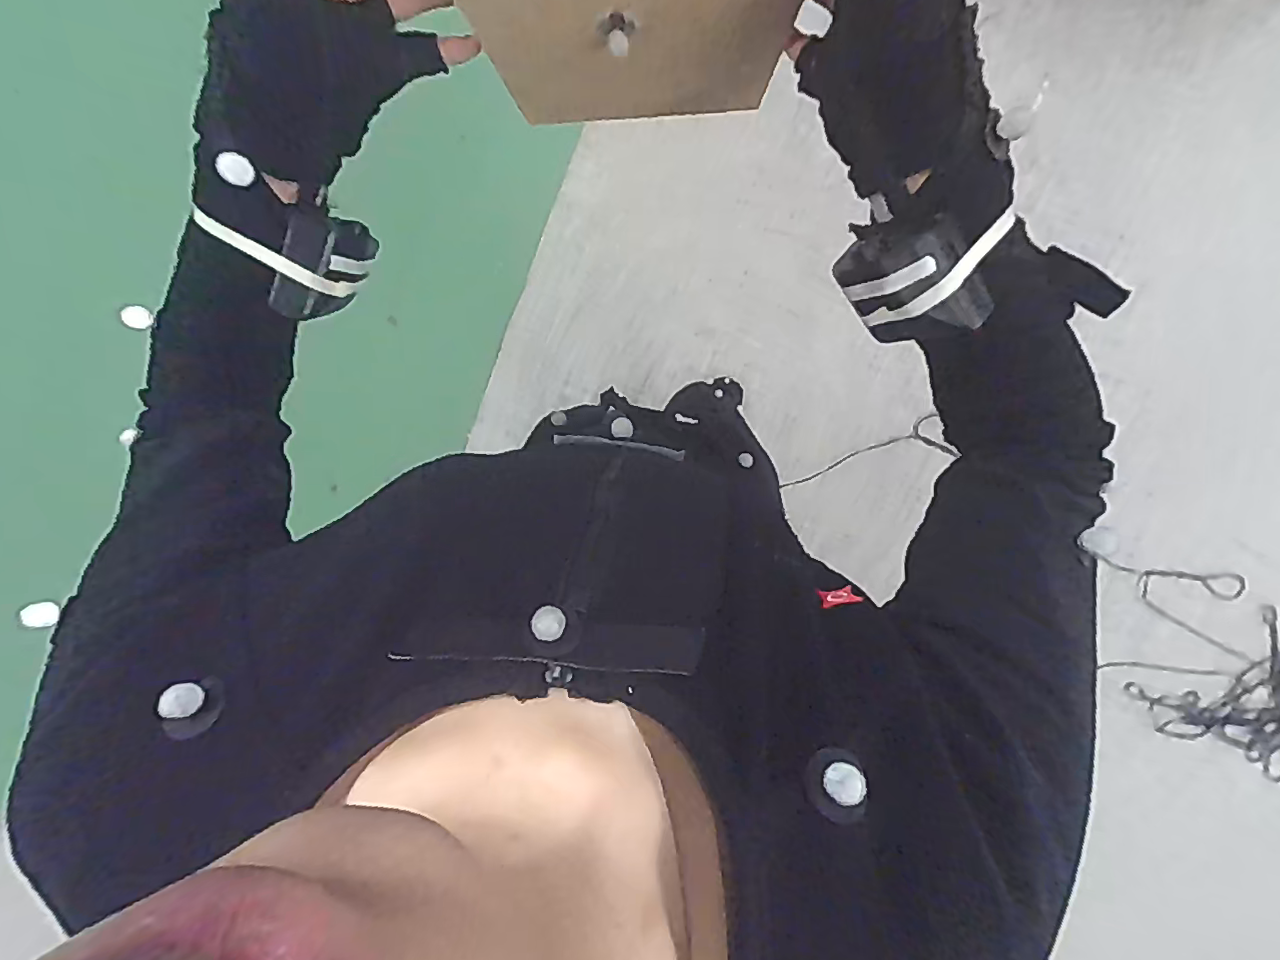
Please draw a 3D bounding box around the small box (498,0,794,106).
[{"bbox_3d":[0.002,-0.340,0.309,0.179,0.176,0.168,-2,106,2],"label":"small box"}]
